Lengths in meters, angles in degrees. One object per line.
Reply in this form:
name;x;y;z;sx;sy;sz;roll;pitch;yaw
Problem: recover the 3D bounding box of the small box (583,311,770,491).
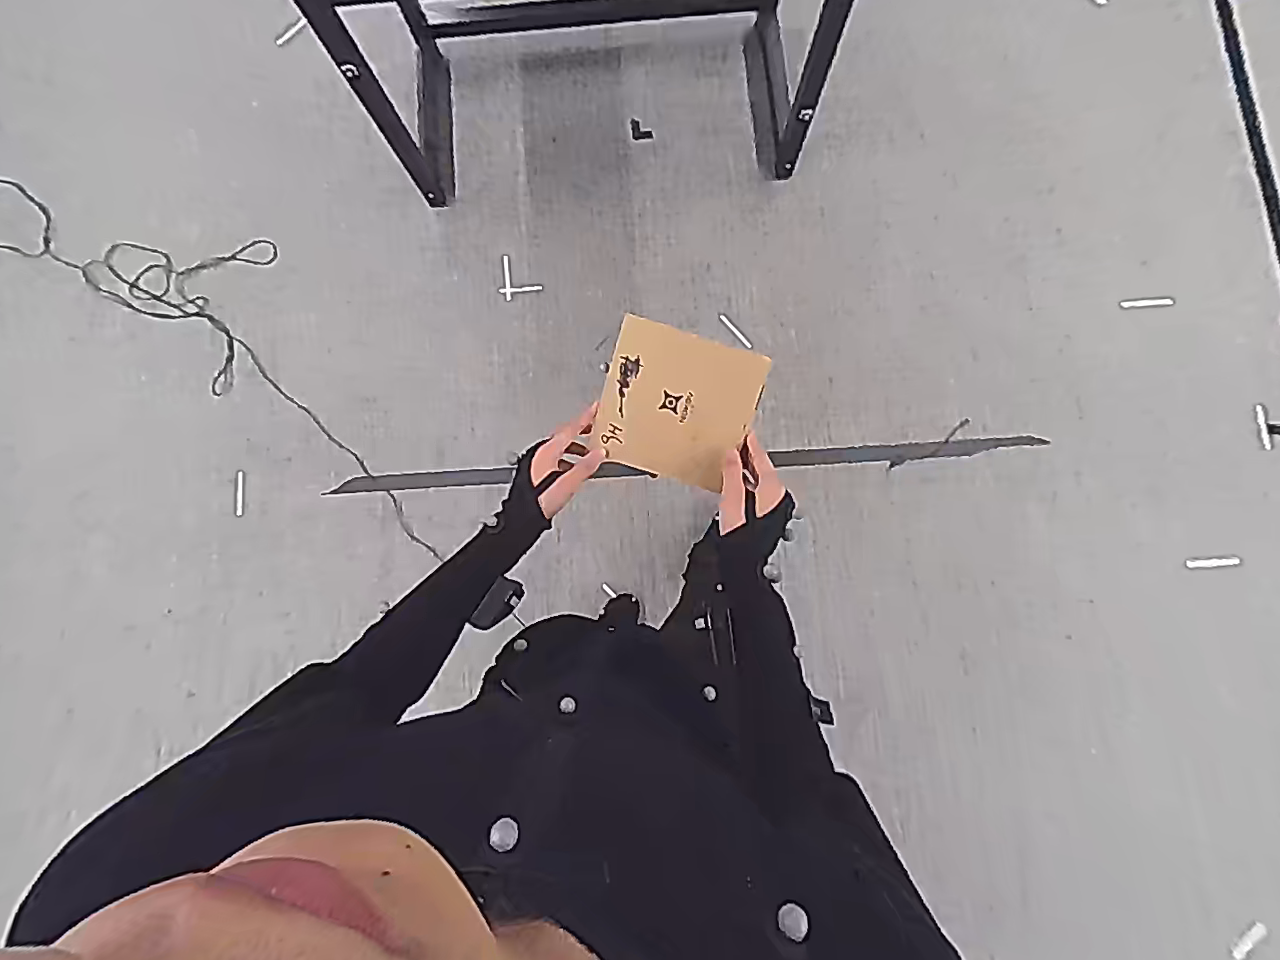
small box;0.042;-0.098;0.692;0.179;0.176;0.168;17;96;-1
